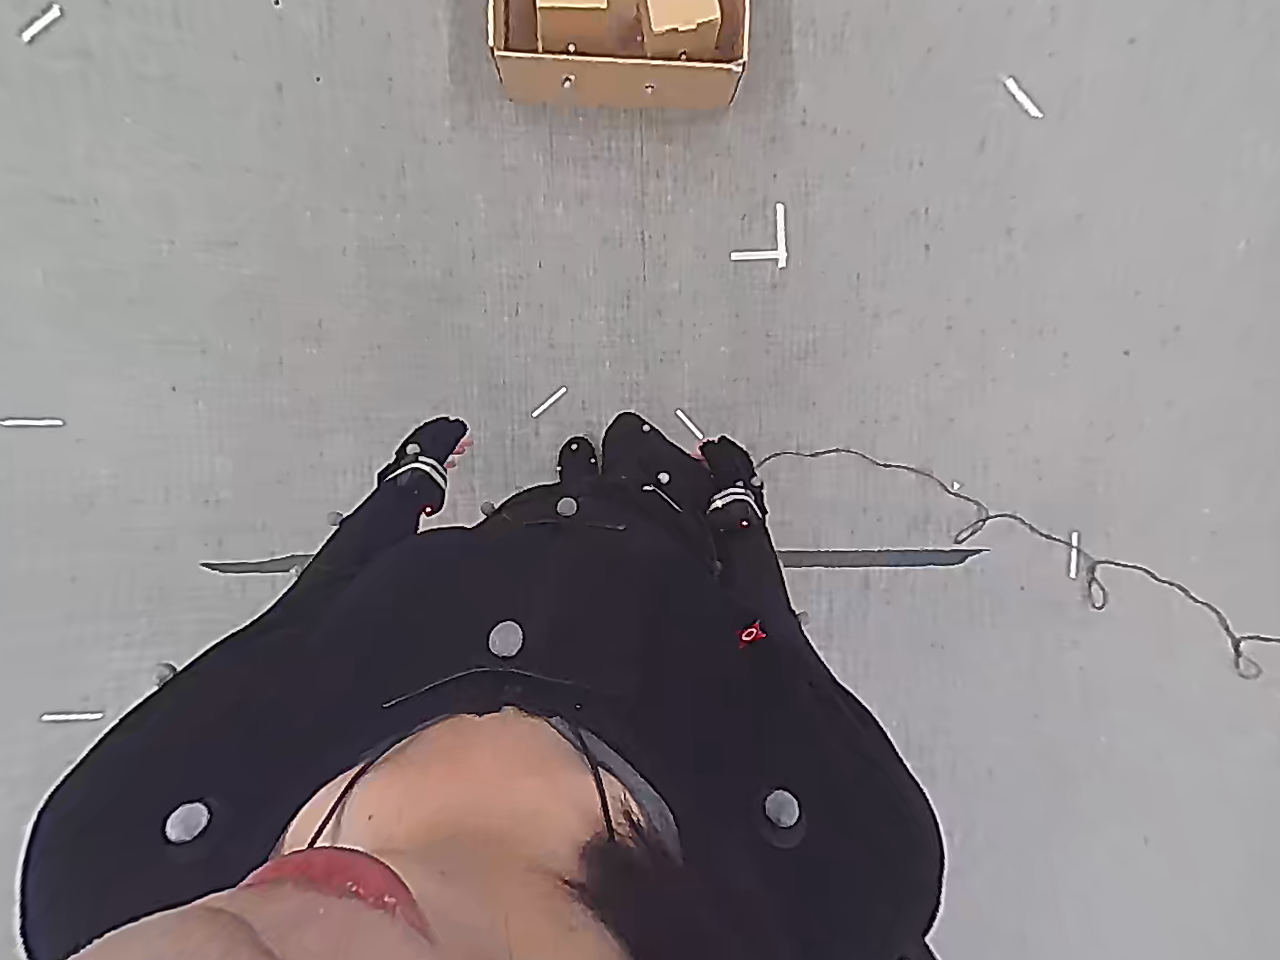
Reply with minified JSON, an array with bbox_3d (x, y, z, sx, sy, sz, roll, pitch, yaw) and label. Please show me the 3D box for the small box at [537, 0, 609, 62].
[{"bbox_3d":[-0.163,-1.170,1.315,0.168,0.176,0.179,-2,93,-4],"label":"small box"}]
